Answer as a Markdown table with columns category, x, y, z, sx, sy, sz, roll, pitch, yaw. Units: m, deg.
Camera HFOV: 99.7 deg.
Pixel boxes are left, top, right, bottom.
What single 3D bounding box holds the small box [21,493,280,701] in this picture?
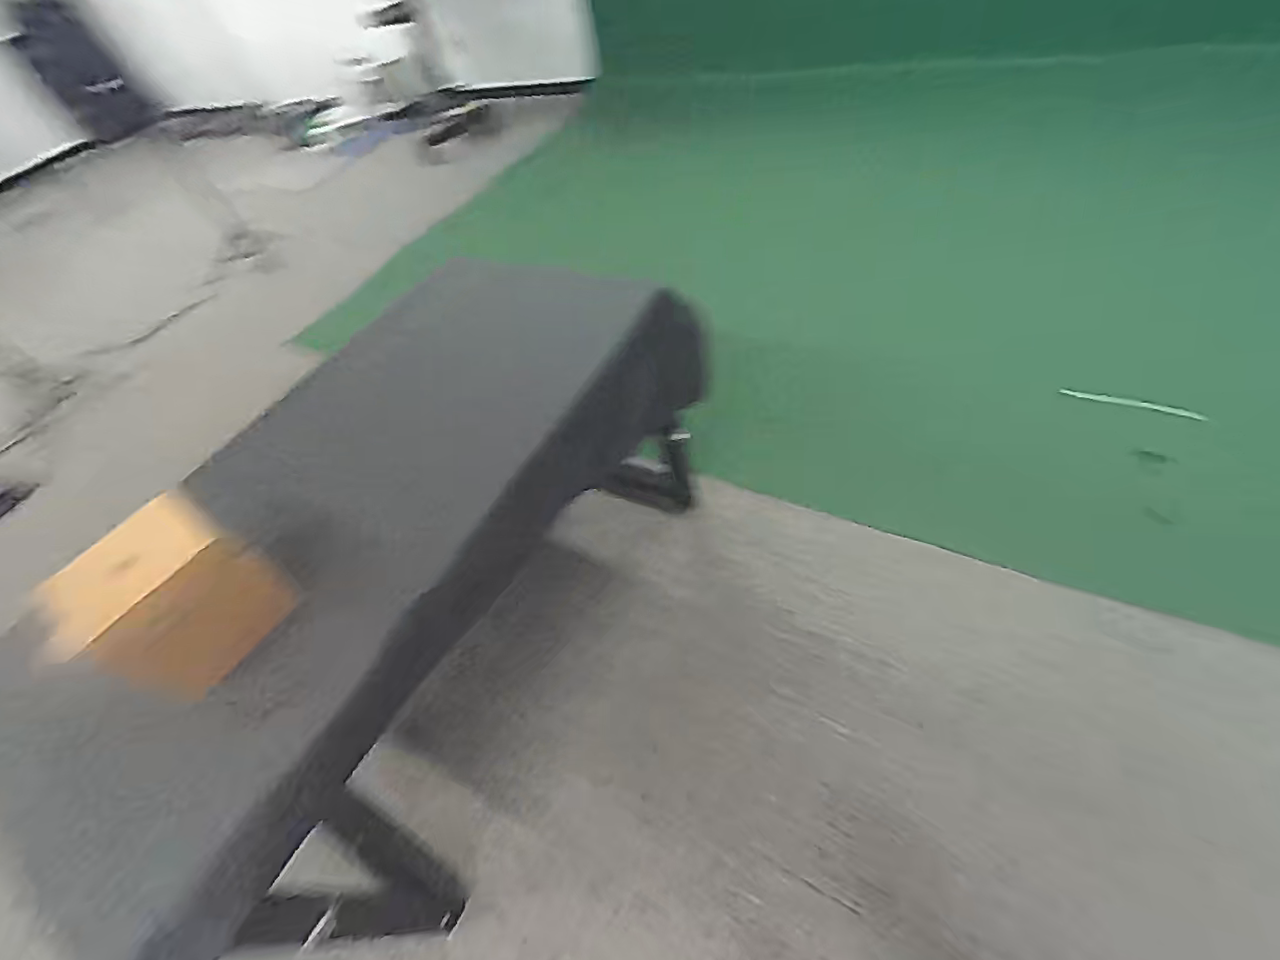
| category | x | y | z | sx | sy | sz | roll | pitch | yaw |
| --- | --- | --- | --- | --- | --- | --- | --- | --- | --- |
| small box | -0.622 | 0.154 | 0.713 | 0.168 | 0.176 | 0.179 | 25 | 62 | 29 |
